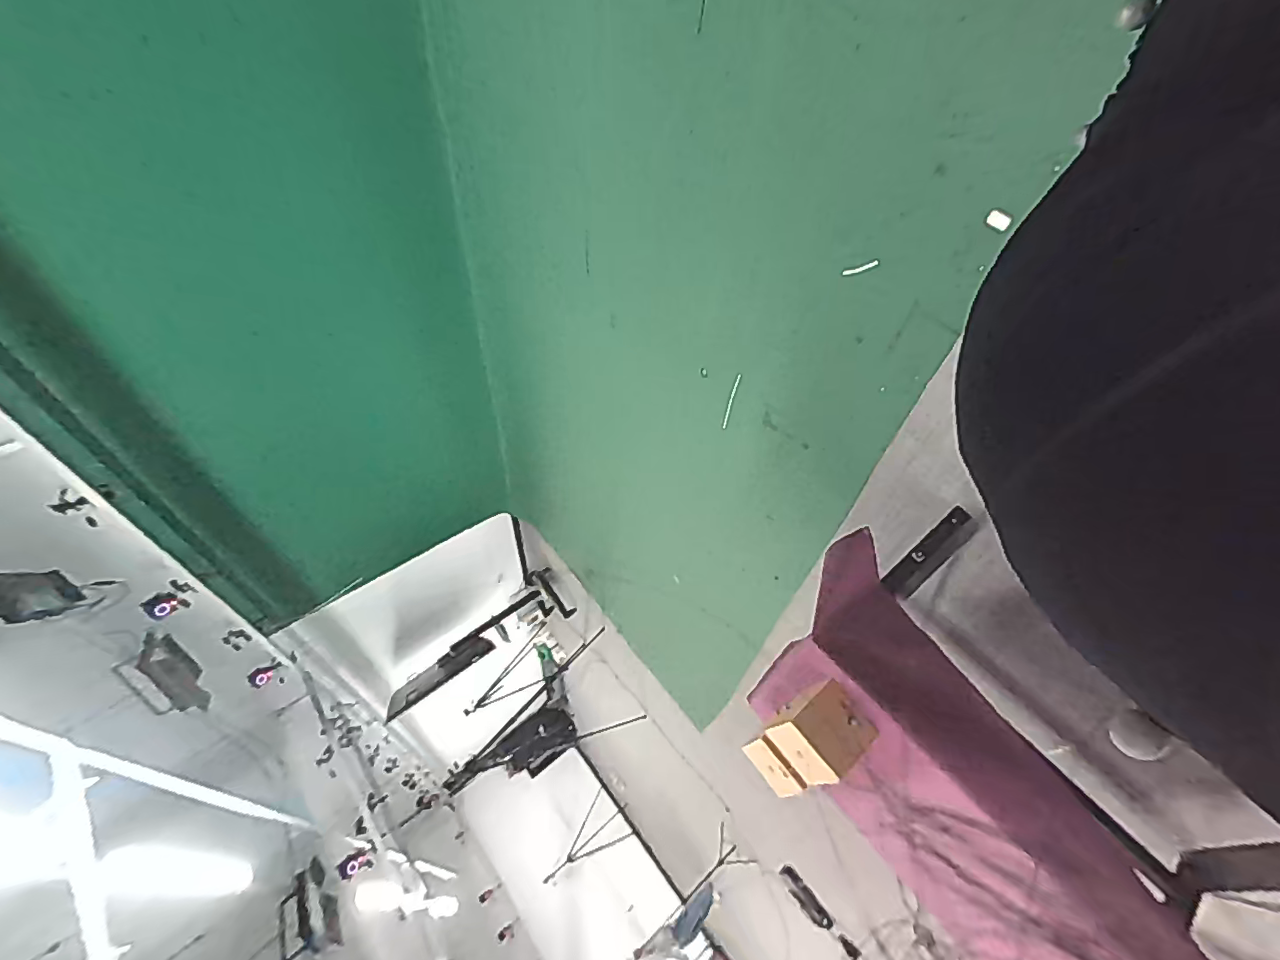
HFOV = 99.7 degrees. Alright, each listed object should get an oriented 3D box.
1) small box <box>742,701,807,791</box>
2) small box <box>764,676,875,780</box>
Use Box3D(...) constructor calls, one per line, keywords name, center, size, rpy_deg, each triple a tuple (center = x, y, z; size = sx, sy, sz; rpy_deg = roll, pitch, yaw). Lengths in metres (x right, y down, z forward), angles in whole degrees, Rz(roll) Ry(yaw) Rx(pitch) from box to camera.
Box3D(name="small box", center=(0.426, 0.755, 1.548), size=(0.168, 0.176, 0.179), rpy_deg=(47, 152, 20))
Box3D(name="small box", center=(0.454, 0.625, 1.368), size=(0.168, 0.176, 0.179), rpy_deg=(48, 151, 17))
